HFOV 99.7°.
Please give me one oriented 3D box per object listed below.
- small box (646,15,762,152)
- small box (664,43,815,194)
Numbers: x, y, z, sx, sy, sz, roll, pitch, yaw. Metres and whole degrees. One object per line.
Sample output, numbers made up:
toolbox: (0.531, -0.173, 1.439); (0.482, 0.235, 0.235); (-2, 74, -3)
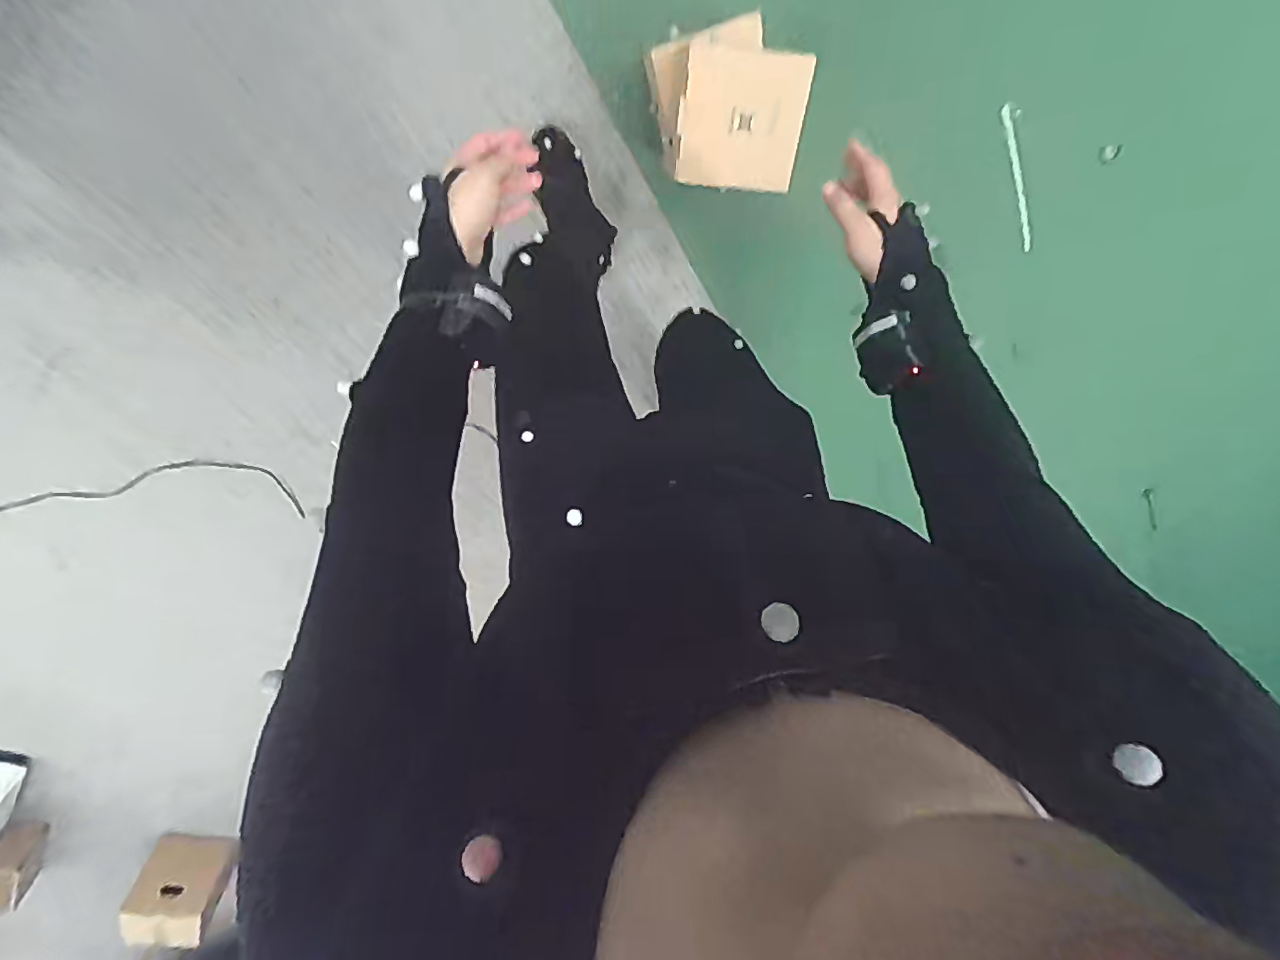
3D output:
small box: (0.113, -0.666, 0.935); (0.179, 0.176, 0.168); (-15, 126, 6)
small box: (0.136, -0.546, 0.822); (0.179, 0.176, 0.168); (1, 127, -7)
